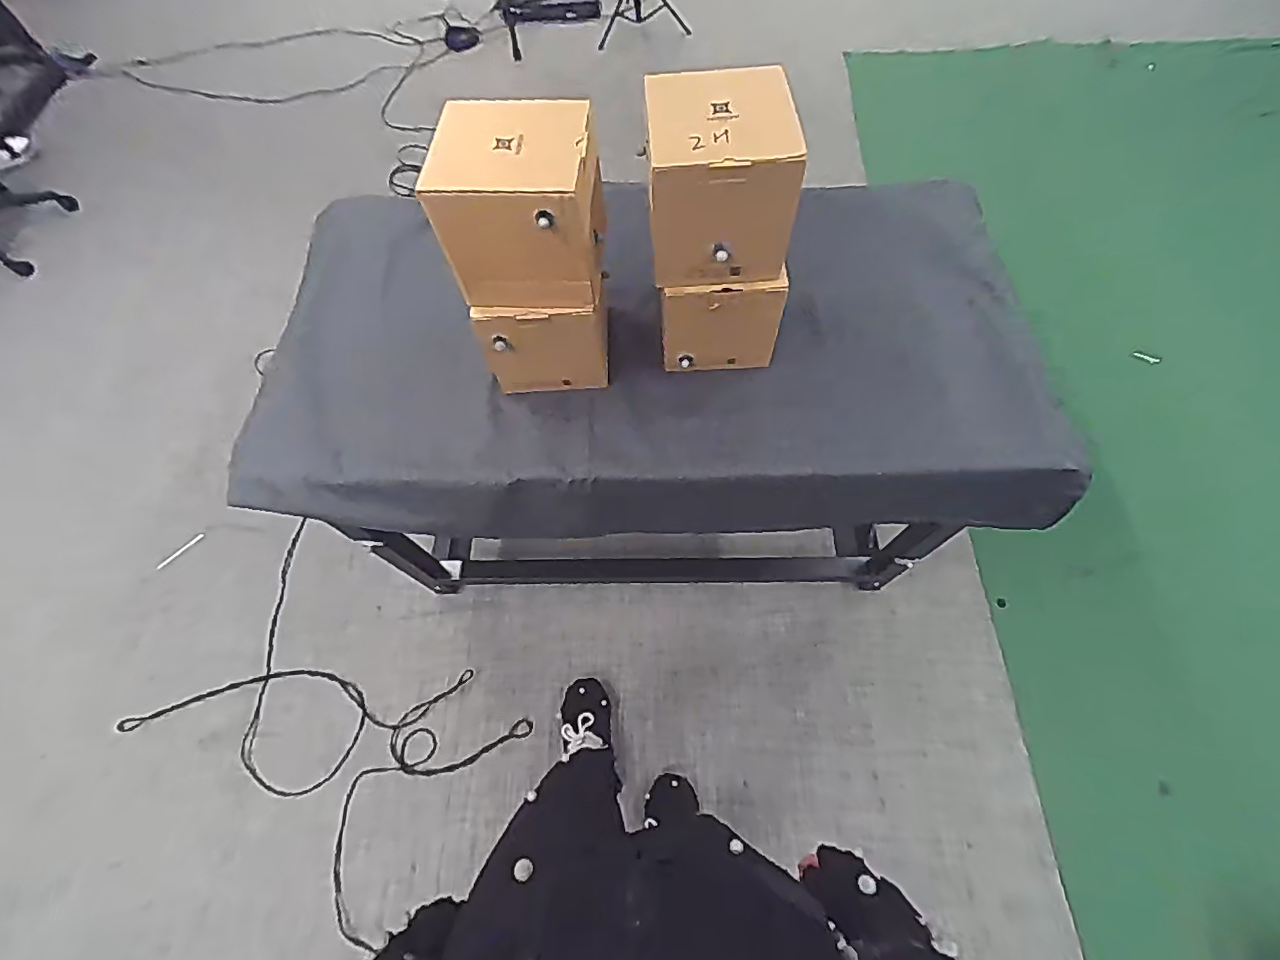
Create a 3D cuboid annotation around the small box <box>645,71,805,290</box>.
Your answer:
[{"bbox_3d":[0.093,-0.366,0.676,0.168,0.176,0.179,-4,64,2],"label":"small box"}]

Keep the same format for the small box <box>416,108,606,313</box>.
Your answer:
[{"bbox_3d":[-0.144,-0.328,0.673,0.179,0.176,0.168,2,63,3],"label":"small box"}]

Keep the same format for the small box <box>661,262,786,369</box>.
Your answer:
[{"bbox_3d":[0.115,-0.281,0.815,0.168,0.176,0.179,-2,63,2],"label":"small box"}]
